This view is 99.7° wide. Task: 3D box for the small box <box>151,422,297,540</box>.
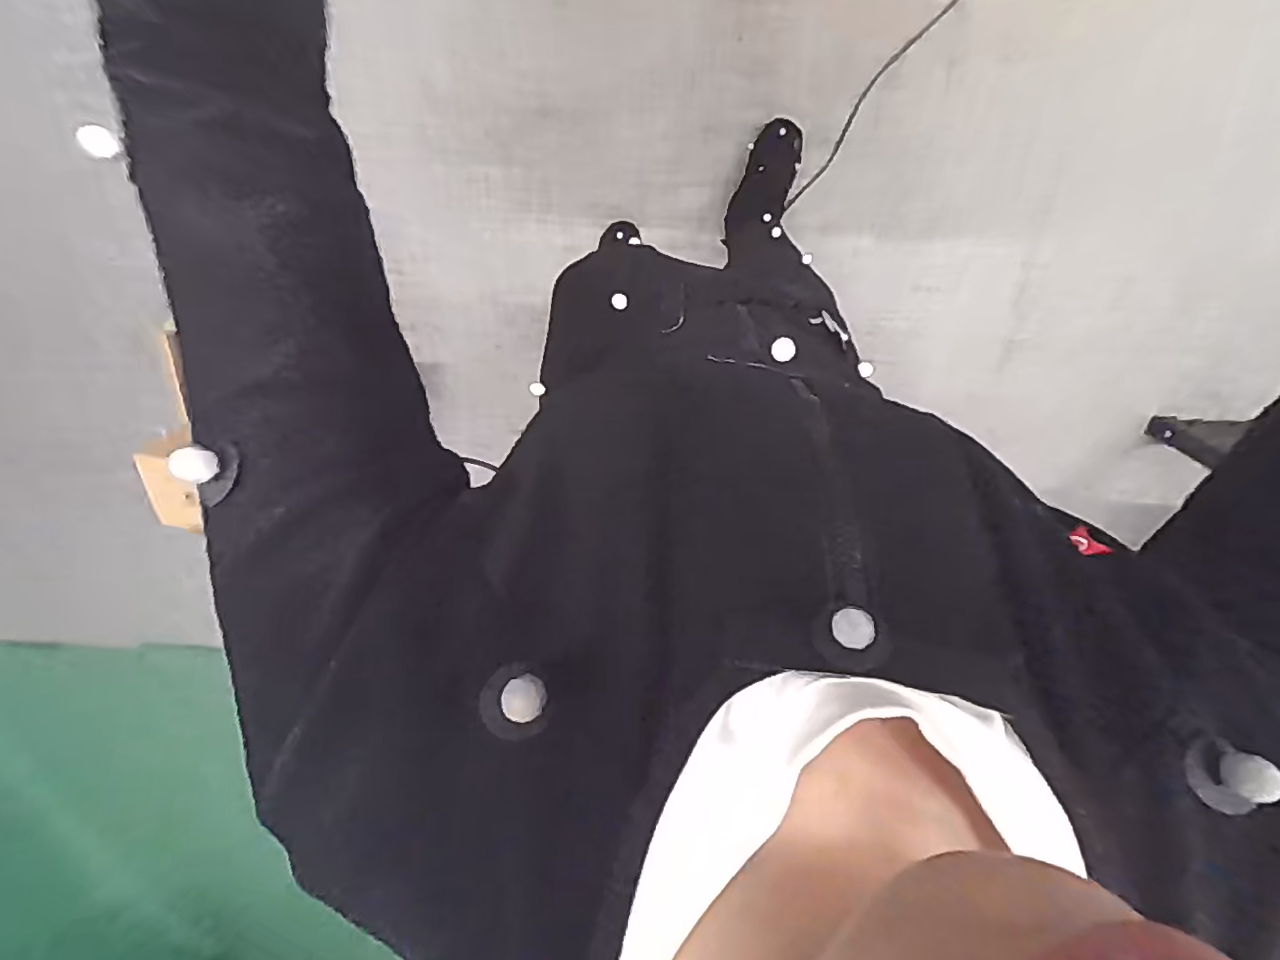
[{"bbox_3d":[-0.868,0.000,1.152,0.168,0.176,0.179,9,122,-2],"label":"small box"}]
